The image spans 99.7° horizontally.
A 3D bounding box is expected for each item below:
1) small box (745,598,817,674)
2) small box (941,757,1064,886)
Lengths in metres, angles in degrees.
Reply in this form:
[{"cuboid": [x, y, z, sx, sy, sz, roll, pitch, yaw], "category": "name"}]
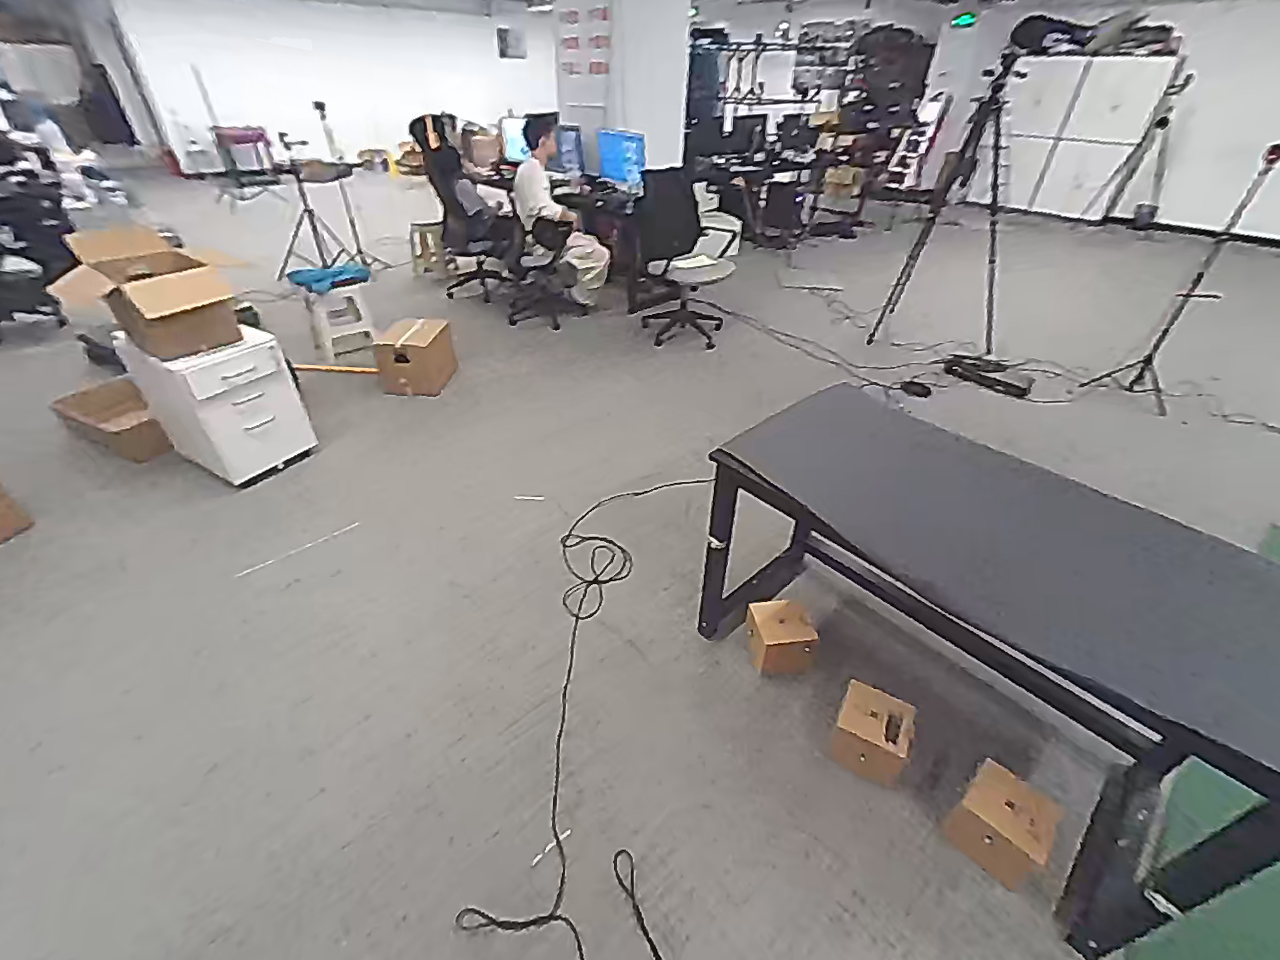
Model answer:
[{"cuboid": [0.444, 0.505, 1.741, 0.179, 0.176, 0.168, -4, 36, -8], "category": "small box"}, {"cuboid": [0.868, 0.826, 1.308, 0.168, 0.176, 0.179, -29, 46, -33], "category": "small box"}]
